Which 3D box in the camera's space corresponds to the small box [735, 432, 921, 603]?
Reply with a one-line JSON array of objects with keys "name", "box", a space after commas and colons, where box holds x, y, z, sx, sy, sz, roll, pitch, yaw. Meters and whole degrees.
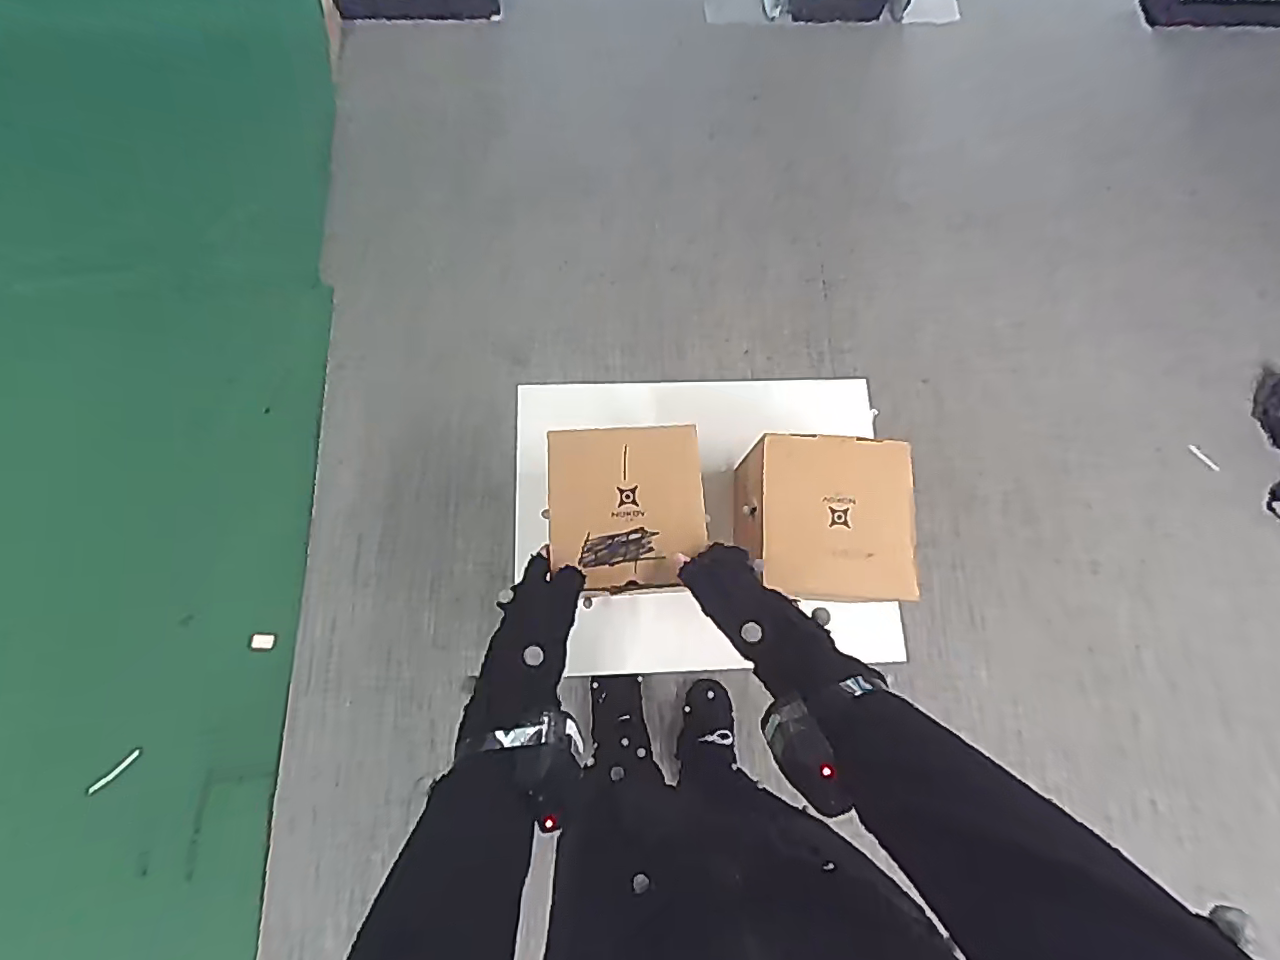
[{"name": "small box", "box": [0.209, 0.053, 0.650, 0.168, 0.176, 0.179, 2, 77, 0]}]

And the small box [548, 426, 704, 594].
[{"name": "small box", "box": [-0.020, 0.046, 0.657, 0.168, 0.176, 0.179, -2, 75, -3]}]
